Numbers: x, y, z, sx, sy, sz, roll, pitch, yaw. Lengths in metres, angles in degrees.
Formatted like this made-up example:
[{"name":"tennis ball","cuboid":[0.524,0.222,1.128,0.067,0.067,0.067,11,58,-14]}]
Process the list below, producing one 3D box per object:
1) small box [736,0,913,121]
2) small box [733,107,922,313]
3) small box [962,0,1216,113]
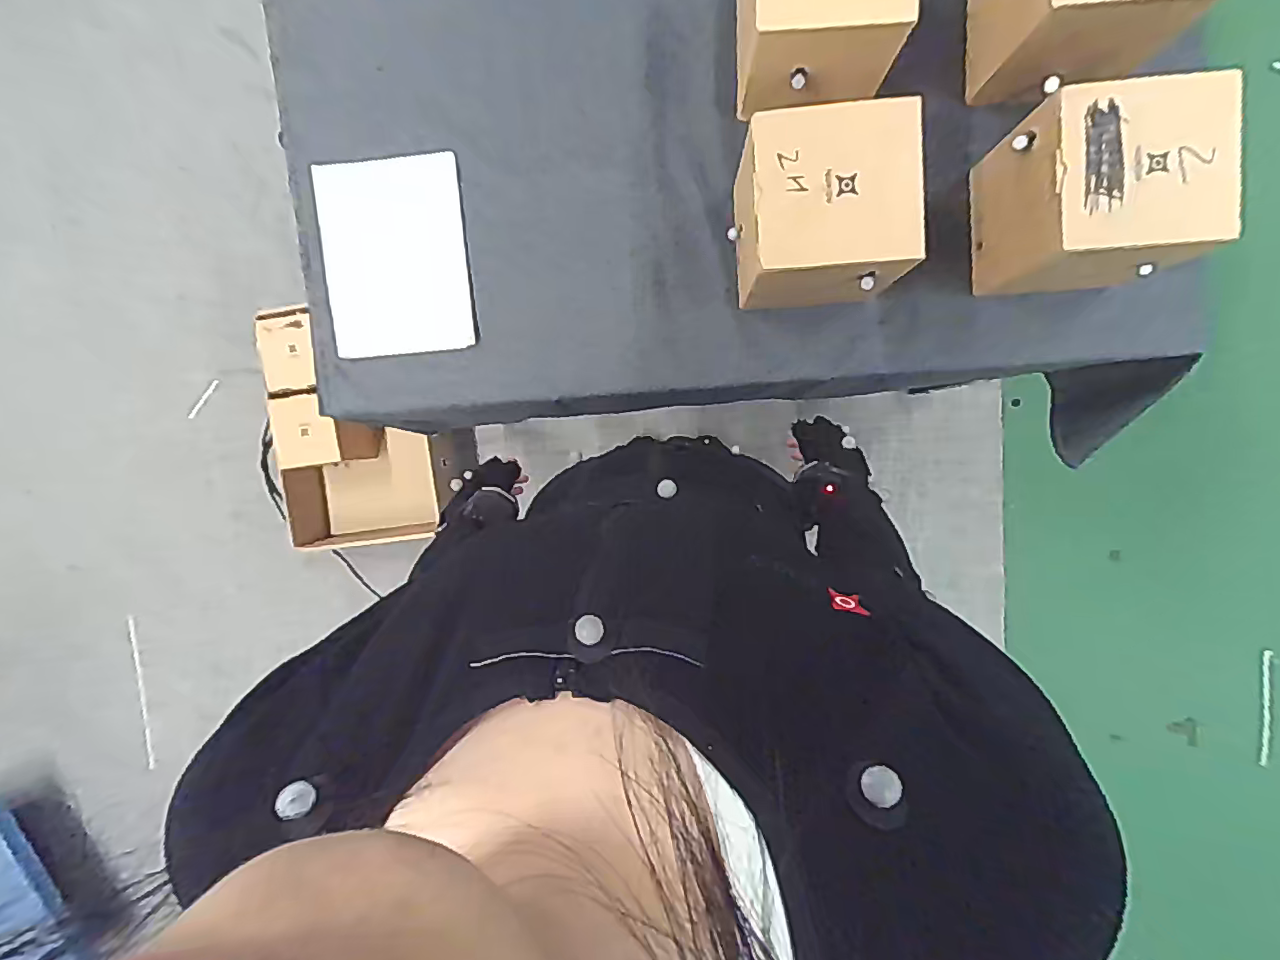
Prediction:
[{"name":"small box","cuboid":[0.206,-0.552,0.637,0.168,0.176,0.179,0,93,4]},{"name":"small box","cuboid":[0.211,-0.307,0.648,0.179,0.176,0.168,-2,92,4]},{"name":"small box","cuboid":[0.494,-0.560,0.616,0.168,0.176,0.179,-1,94,4]}]
